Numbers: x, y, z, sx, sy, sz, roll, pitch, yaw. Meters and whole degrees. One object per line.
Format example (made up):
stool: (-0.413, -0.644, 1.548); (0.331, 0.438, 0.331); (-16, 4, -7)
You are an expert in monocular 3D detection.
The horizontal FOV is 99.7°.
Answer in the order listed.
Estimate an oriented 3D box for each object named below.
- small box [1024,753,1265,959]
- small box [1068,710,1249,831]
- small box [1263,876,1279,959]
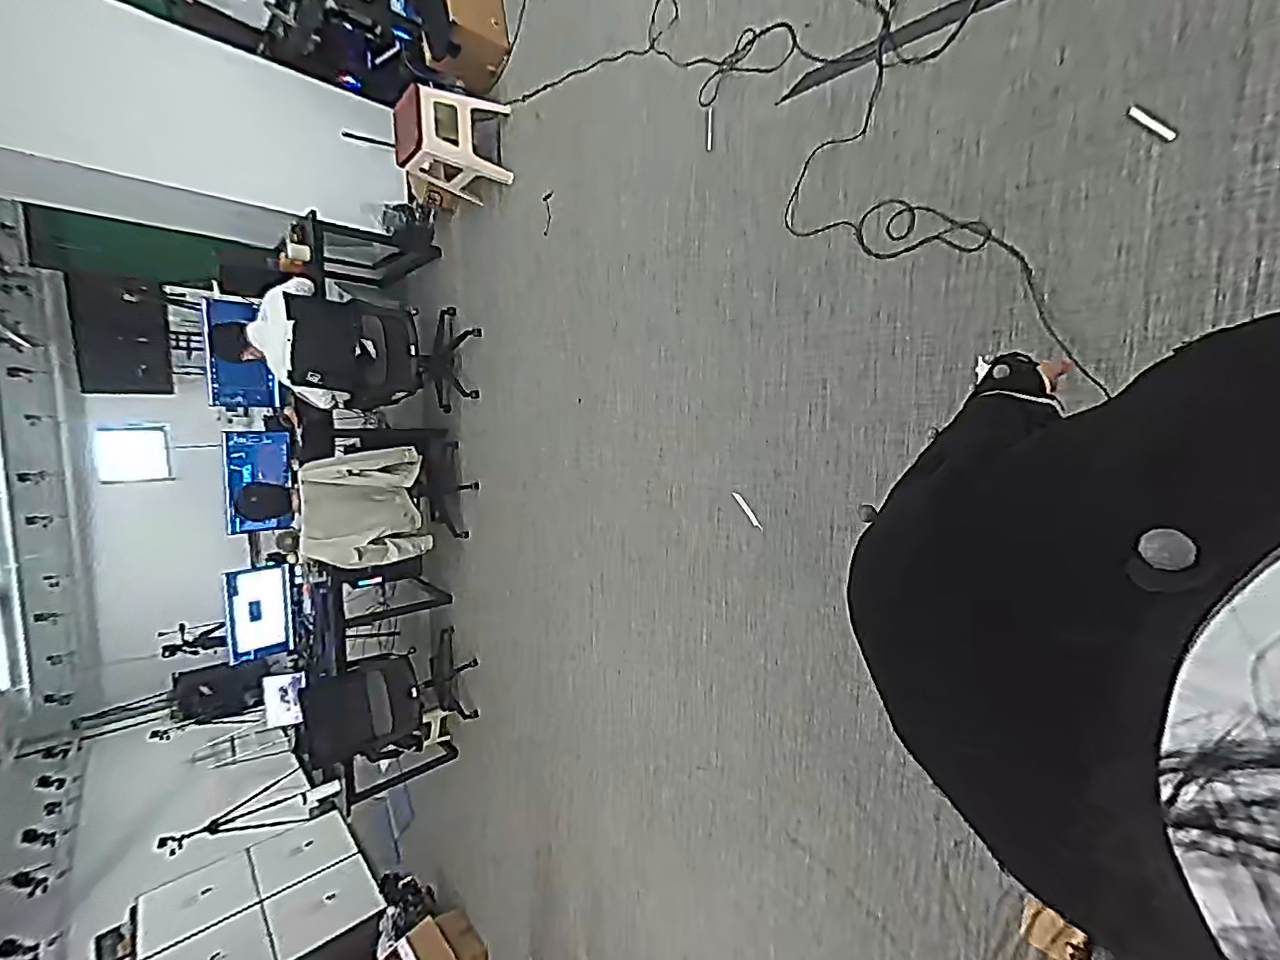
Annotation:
small box: (0.573, 0.454, 0.623); (0.168, 0.176, 0.179); (13, 101, 47)
small box: (0.694, 0.447, 0.733); (0.168, 0.176, 0.179); (8, 97, 47)
small box: (0.829, 0.598, 0.598); (0.168, 0.176, 0.179); (8, 98, 45)
